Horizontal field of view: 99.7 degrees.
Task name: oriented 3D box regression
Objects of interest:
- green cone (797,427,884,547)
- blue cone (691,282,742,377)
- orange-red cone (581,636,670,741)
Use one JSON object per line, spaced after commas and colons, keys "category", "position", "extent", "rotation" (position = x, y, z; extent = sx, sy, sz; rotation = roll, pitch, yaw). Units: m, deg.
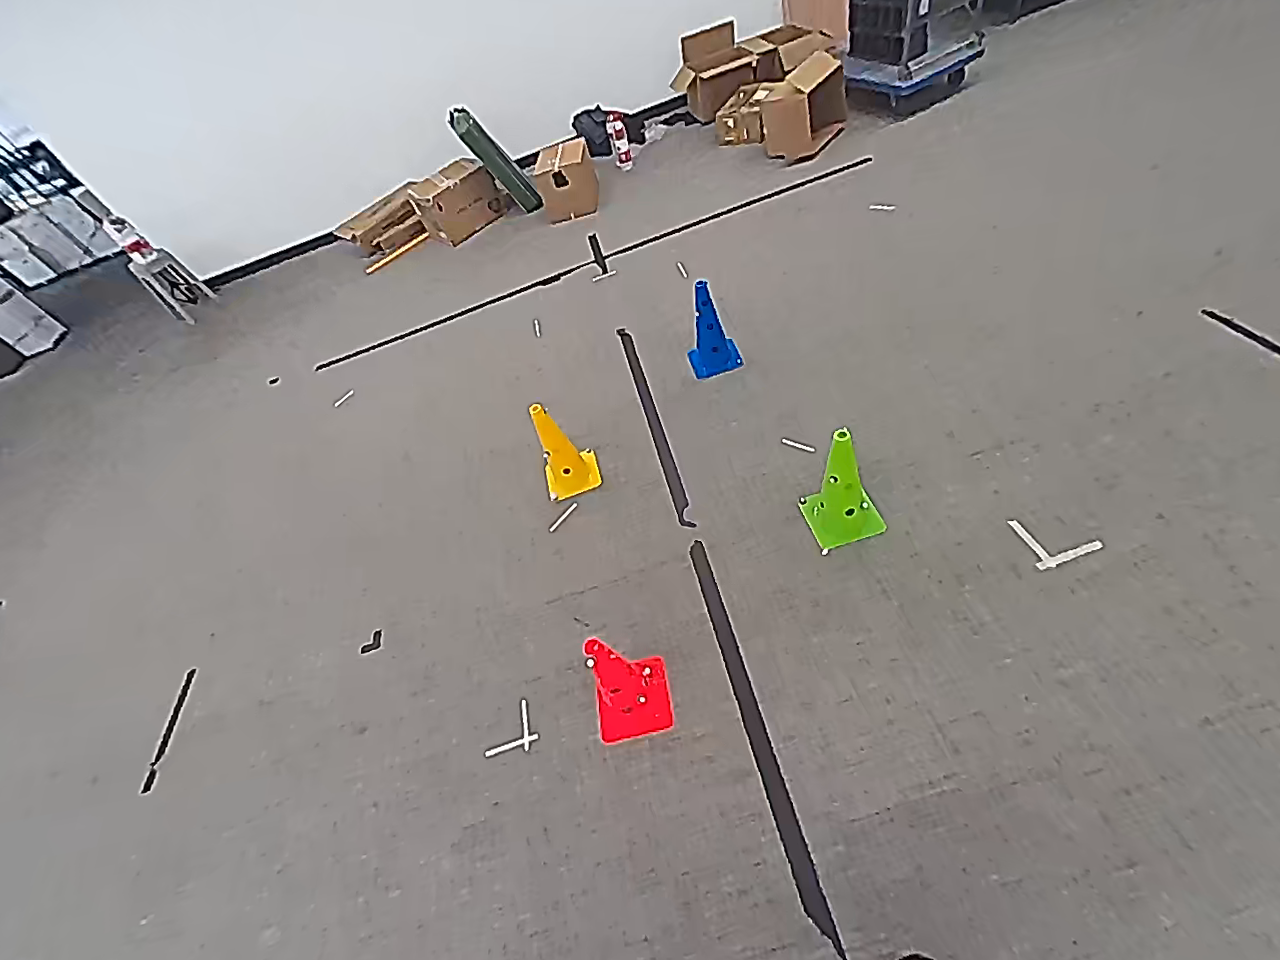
{"category": "green cone", "position": [0.562, -0.005, 1.512], "extent": [0.202, 0.368, 0.200], "rotation": [-18, 48, 3]}
{"category": "blue cone", "position": [0.275, -0.609, 2.143], "extent": [0.192, 0.380, 0.193], "rotation": [-15, 48, 5]}
{"category": "orange-red cone", "position": [-0.069, 0.478, 1.331], "extent": [0.199, 0.360, 0.198], "rotation": [-16, 46, 7]}
